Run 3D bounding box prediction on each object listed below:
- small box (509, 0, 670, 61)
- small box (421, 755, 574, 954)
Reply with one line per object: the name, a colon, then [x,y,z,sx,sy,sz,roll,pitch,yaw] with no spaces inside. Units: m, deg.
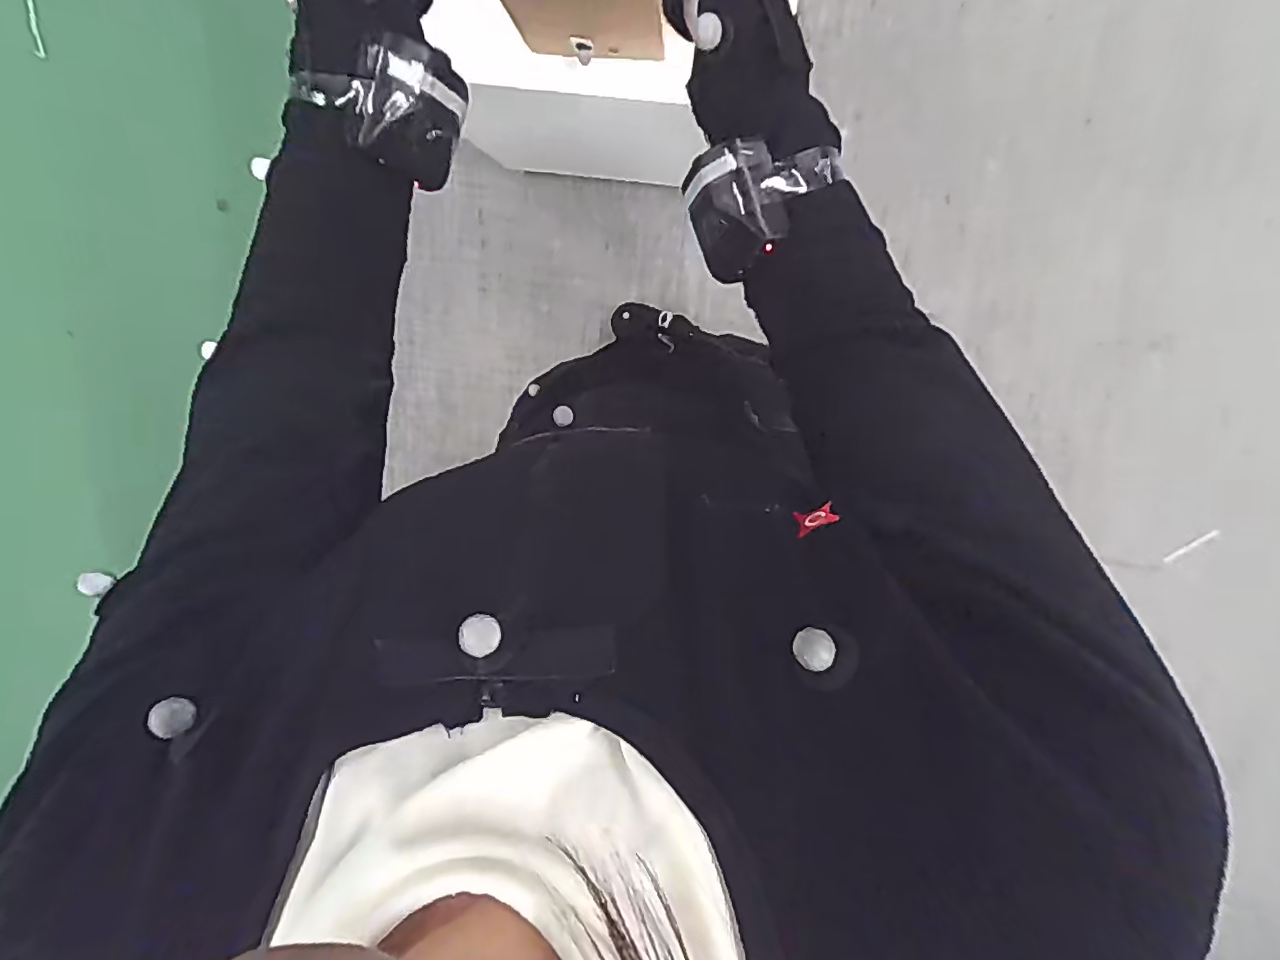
small box: [-0.052,-0.564,0.546,0.168,0.176,0.179,5,110,5]
small box: [-0.200,0.537,0.793,0.179,0.176,0.168,9,111,2]
